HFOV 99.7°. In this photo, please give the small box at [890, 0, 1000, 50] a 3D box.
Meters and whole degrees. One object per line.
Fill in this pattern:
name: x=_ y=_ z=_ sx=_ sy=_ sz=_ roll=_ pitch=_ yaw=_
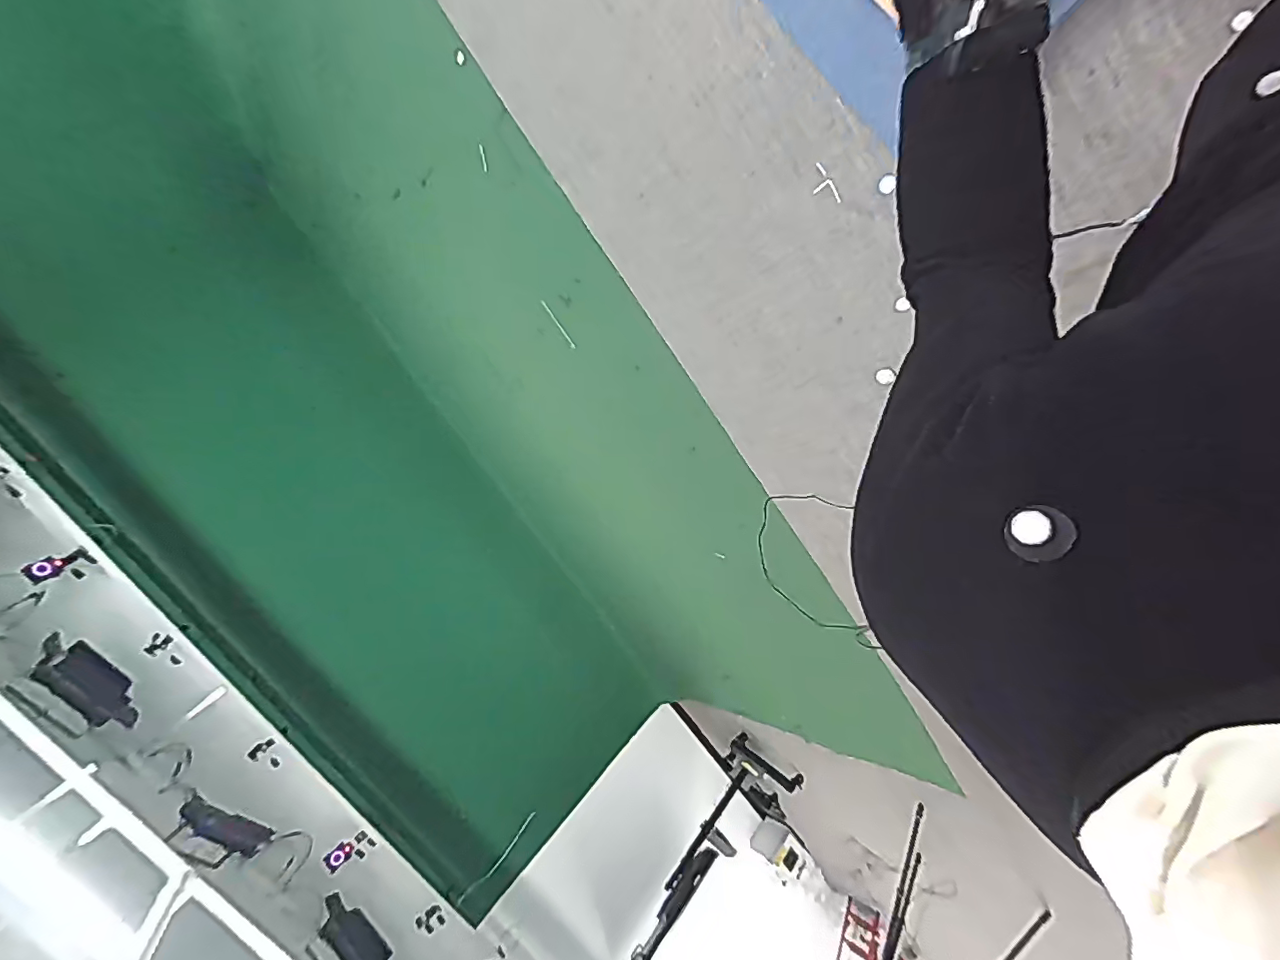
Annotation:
small box: x=0.558 y=-0.897 z=0.925 sx=0.168 sy=0.176 sz=0.179 roll=48 pitch=151 yaw=3
